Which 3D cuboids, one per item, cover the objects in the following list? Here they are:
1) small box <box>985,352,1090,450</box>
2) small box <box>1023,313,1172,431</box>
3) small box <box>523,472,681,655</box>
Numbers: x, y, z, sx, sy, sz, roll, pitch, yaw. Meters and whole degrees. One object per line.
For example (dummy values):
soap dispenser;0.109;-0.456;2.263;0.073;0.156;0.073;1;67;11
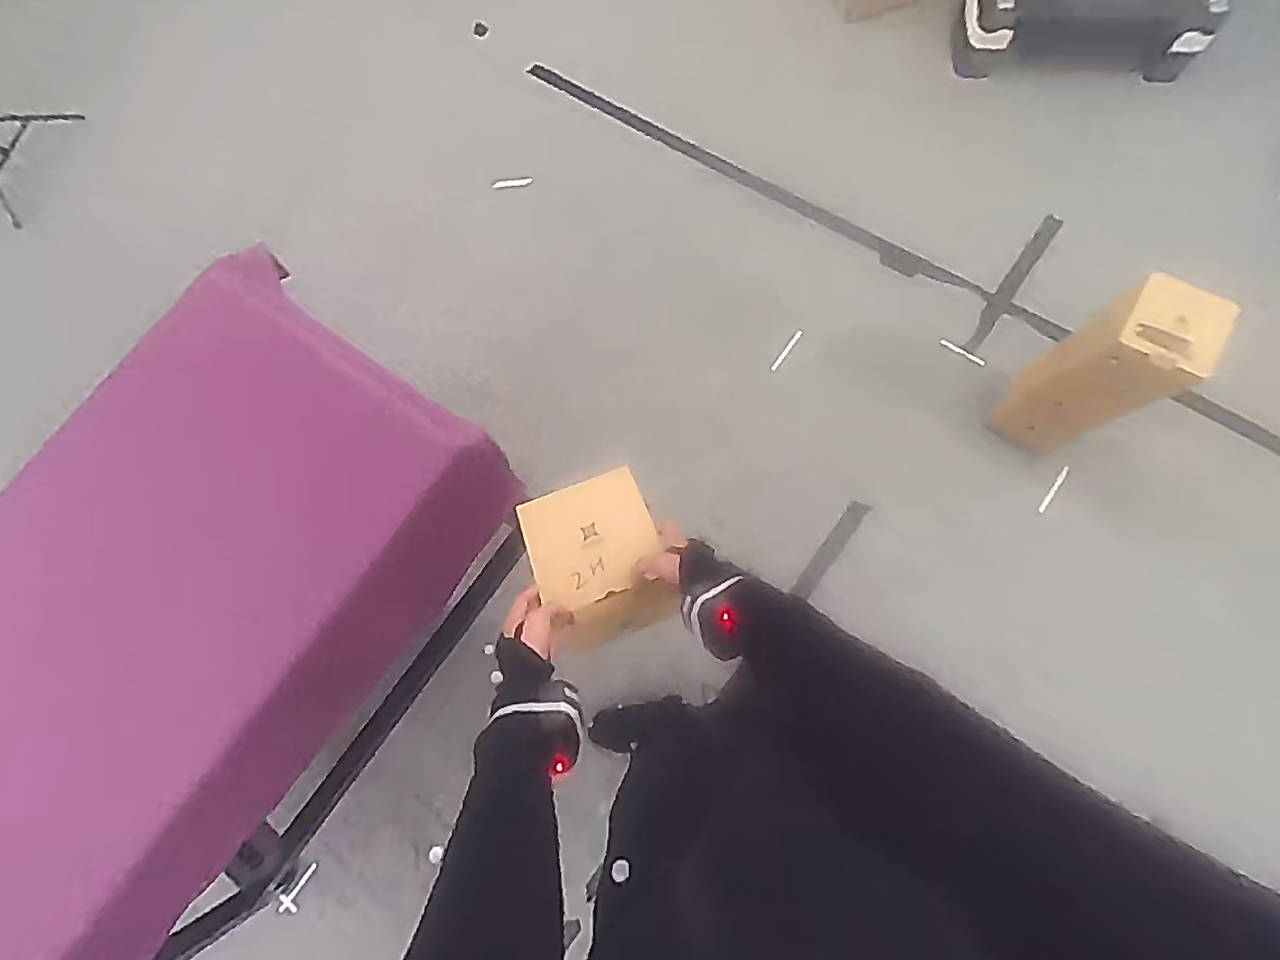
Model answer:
small box;1.055;-0.195;1.408;0.179;0.176;0.168;32;82;12
small box;1.044;-0.243;1.252;0.168;0.176;0.179;37;84;12
small box;-0.049;0.123;0.767;0.168;0.176;0.179;-21;59;-4
